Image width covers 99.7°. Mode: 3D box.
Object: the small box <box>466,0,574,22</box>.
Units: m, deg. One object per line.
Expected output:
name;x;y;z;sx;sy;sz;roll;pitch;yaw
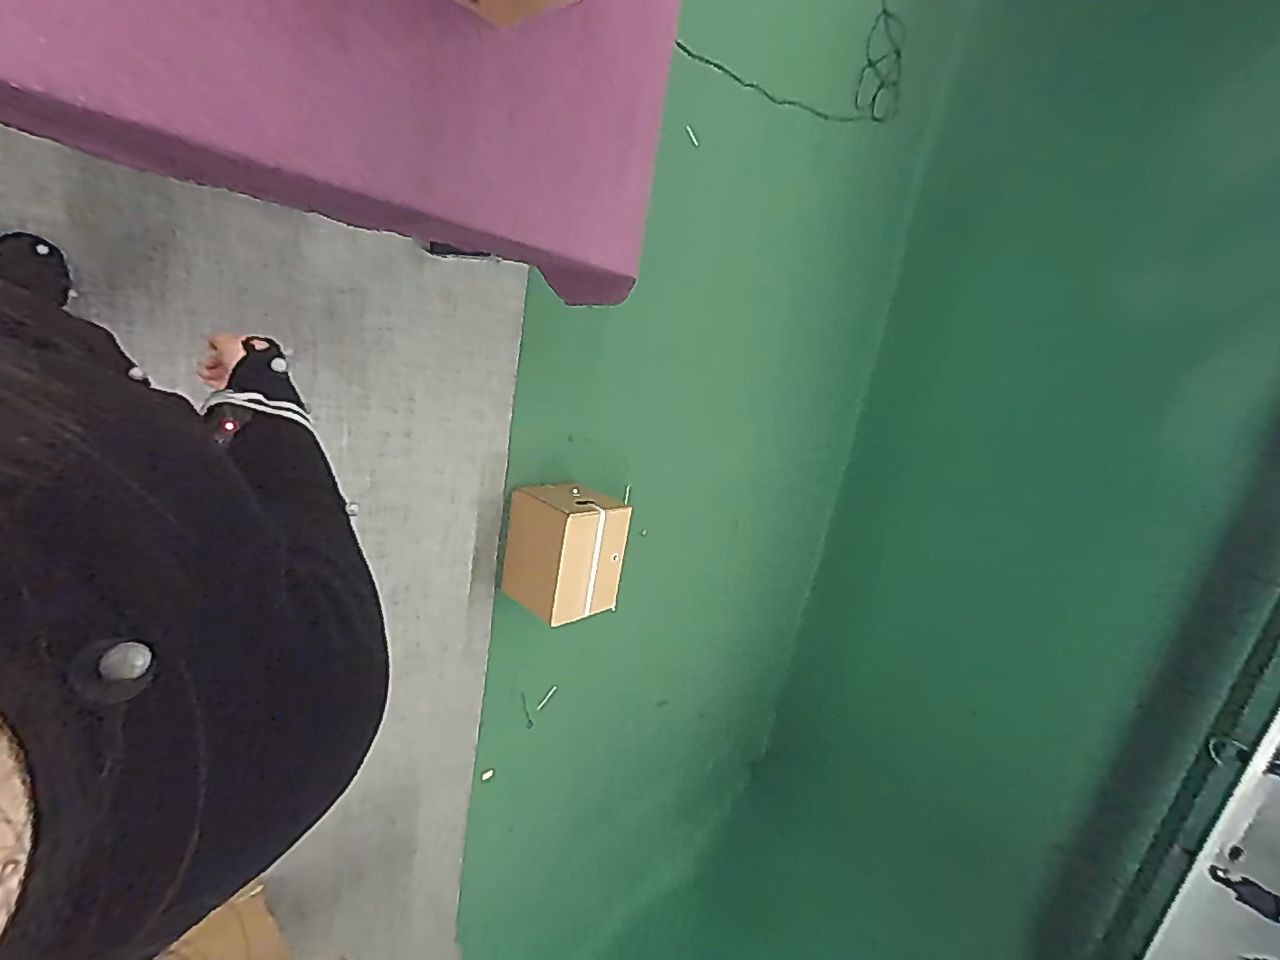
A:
small box;-0.164;-0.683;0.621;0.168;0.176;0.179;-7;113;-47
